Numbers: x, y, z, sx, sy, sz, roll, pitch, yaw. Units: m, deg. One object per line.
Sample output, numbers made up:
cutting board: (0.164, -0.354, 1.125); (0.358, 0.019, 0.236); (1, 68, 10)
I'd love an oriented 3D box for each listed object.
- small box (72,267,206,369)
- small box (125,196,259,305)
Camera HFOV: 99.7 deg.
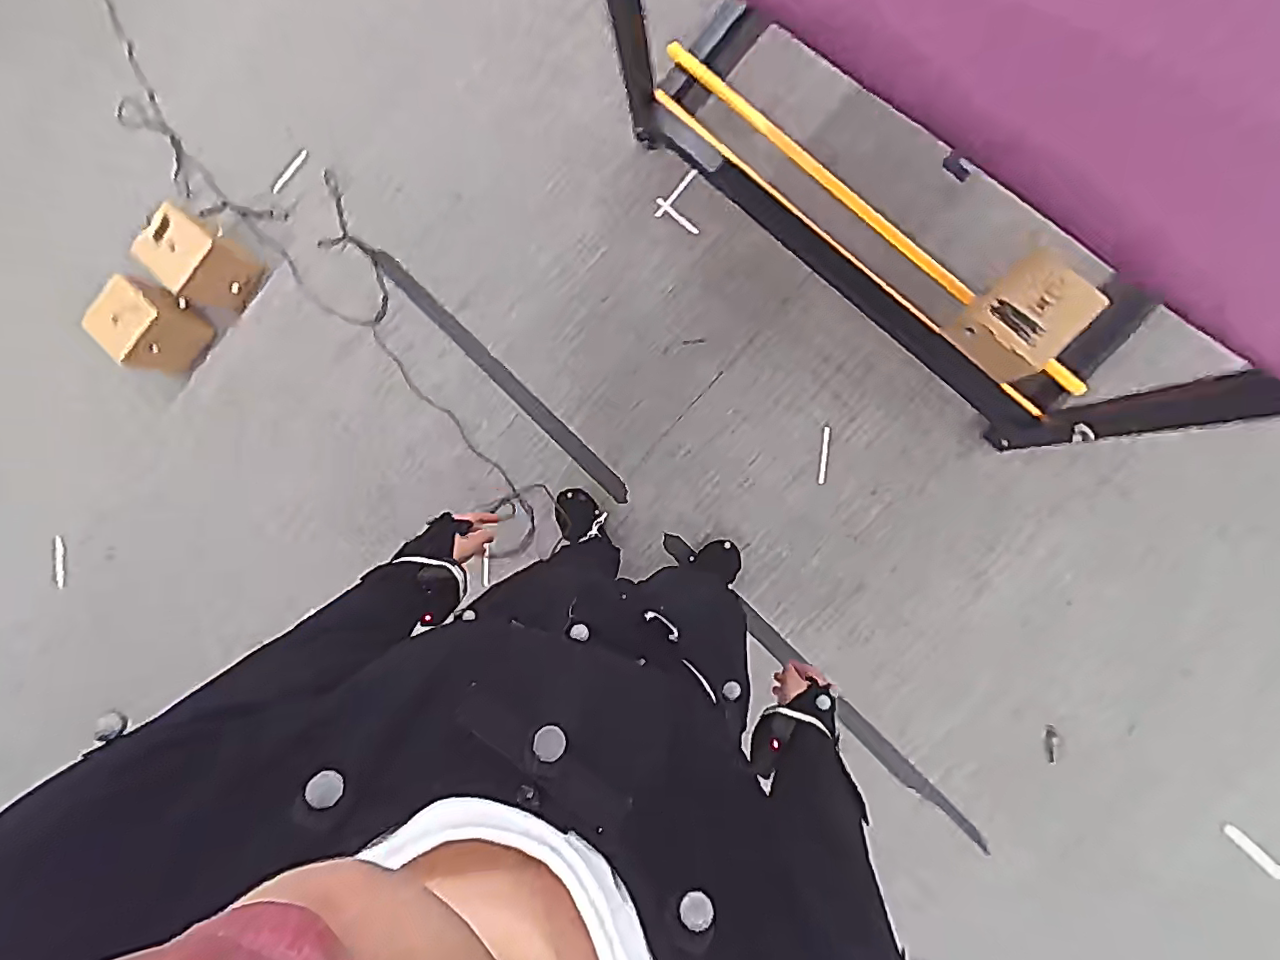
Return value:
small box: (-1.323, -0.421, 1.440); (0.168, 0.176, 0.179); (44, 96, 4)
small box: (-1.170, -0.593, 1.422); (0.179, 0.176, 0.168); (42, 95, 4)
